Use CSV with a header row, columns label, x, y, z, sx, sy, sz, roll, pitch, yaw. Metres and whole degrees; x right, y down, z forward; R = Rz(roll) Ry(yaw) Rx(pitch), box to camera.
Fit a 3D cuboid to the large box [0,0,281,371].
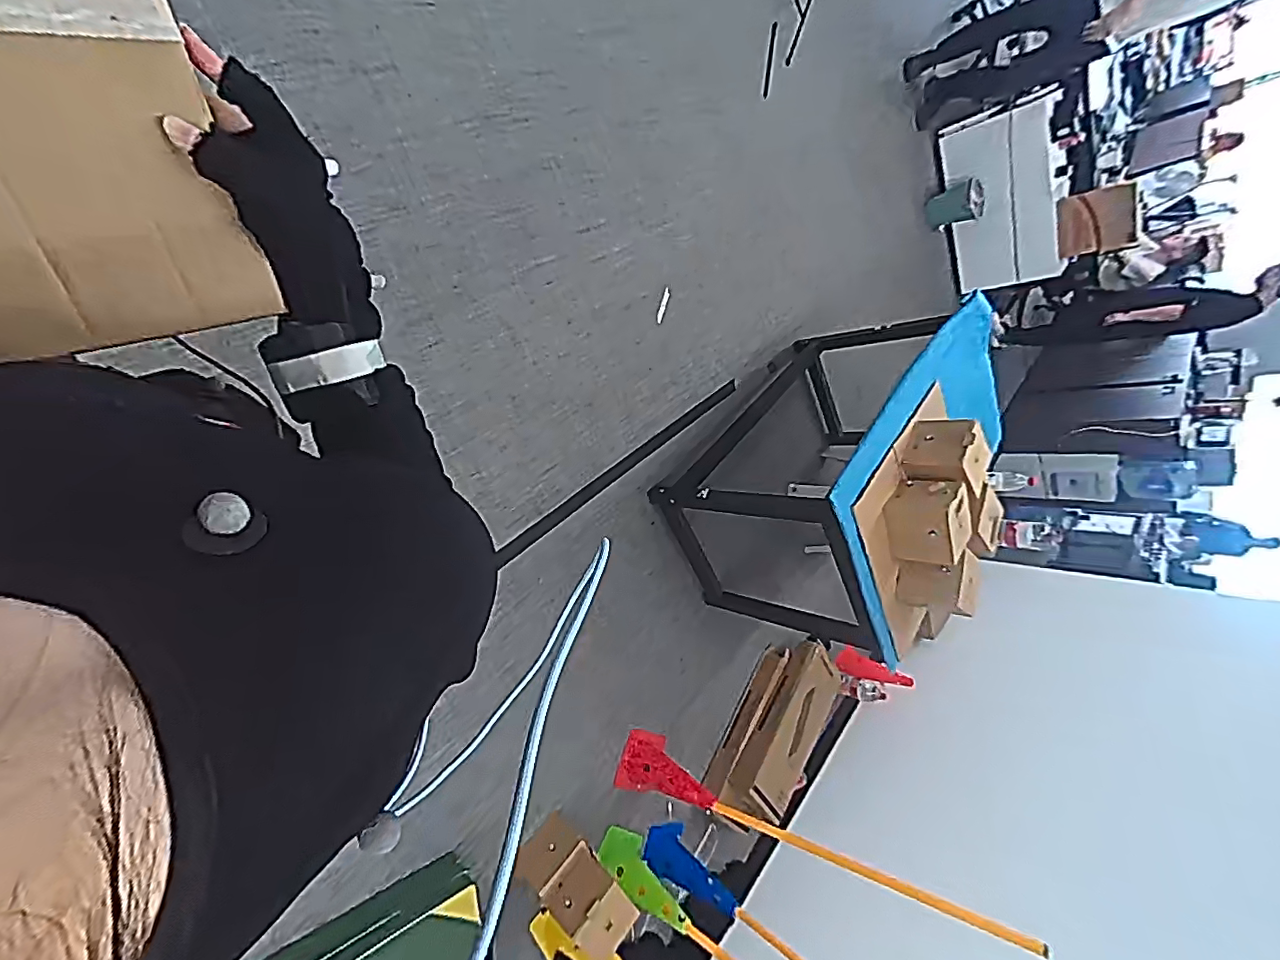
label,x,y,z,sx,sy,sz,roll,pitch,yaw
large box,-0.511,-0.217,0.302,0.408,0.320,0.320,-27,125,-34
